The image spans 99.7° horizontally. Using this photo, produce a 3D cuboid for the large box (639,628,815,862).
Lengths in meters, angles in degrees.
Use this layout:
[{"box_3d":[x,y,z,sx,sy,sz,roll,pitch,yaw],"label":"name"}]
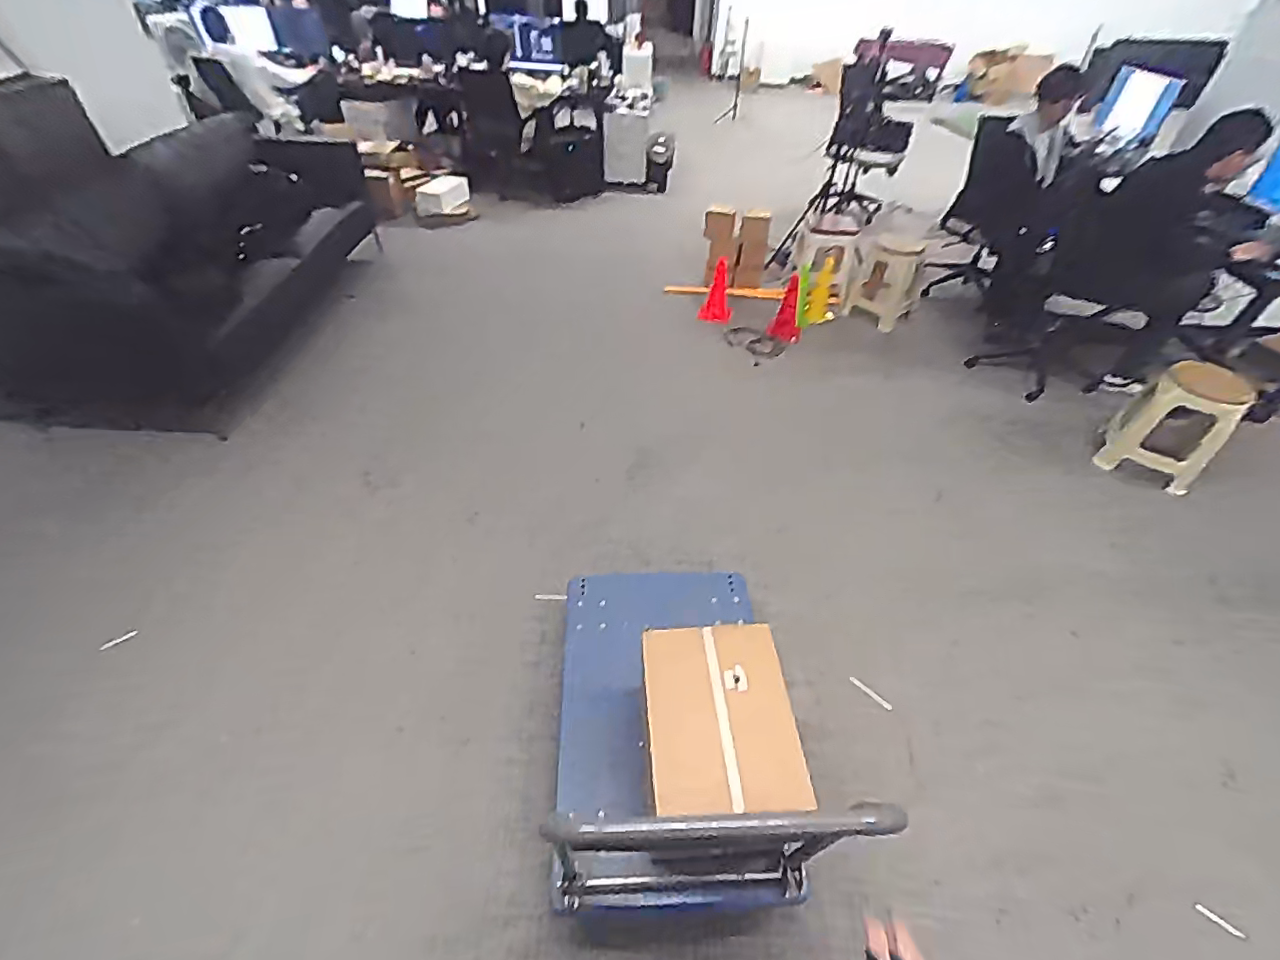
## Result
[{"box_3d":[0.168,0.613,1.270,0.320,0.320,0.408,-2,44,-5],"label":"large box"}]
